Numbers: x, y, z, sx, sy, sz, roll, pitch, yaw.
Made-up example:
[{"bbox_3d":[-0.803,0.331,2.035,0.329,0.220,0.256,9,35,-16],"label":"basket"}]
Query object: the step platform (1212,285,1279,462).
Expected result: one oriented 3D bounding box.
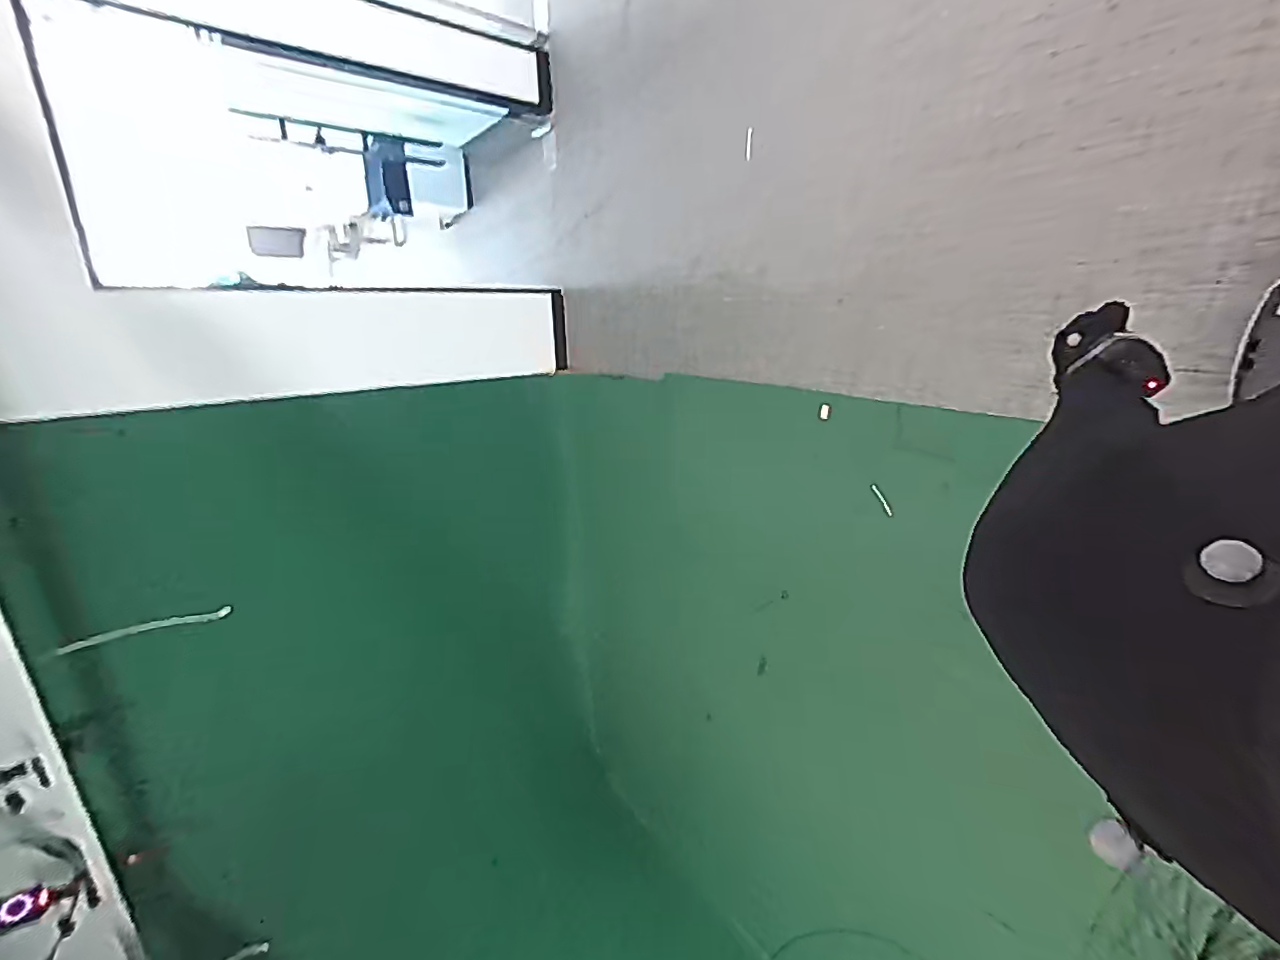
[{"bbox_3d":[1.260,-0.127,0.706,0.684,0.204,0.286,19,115,48],"label":"step platform"}]
